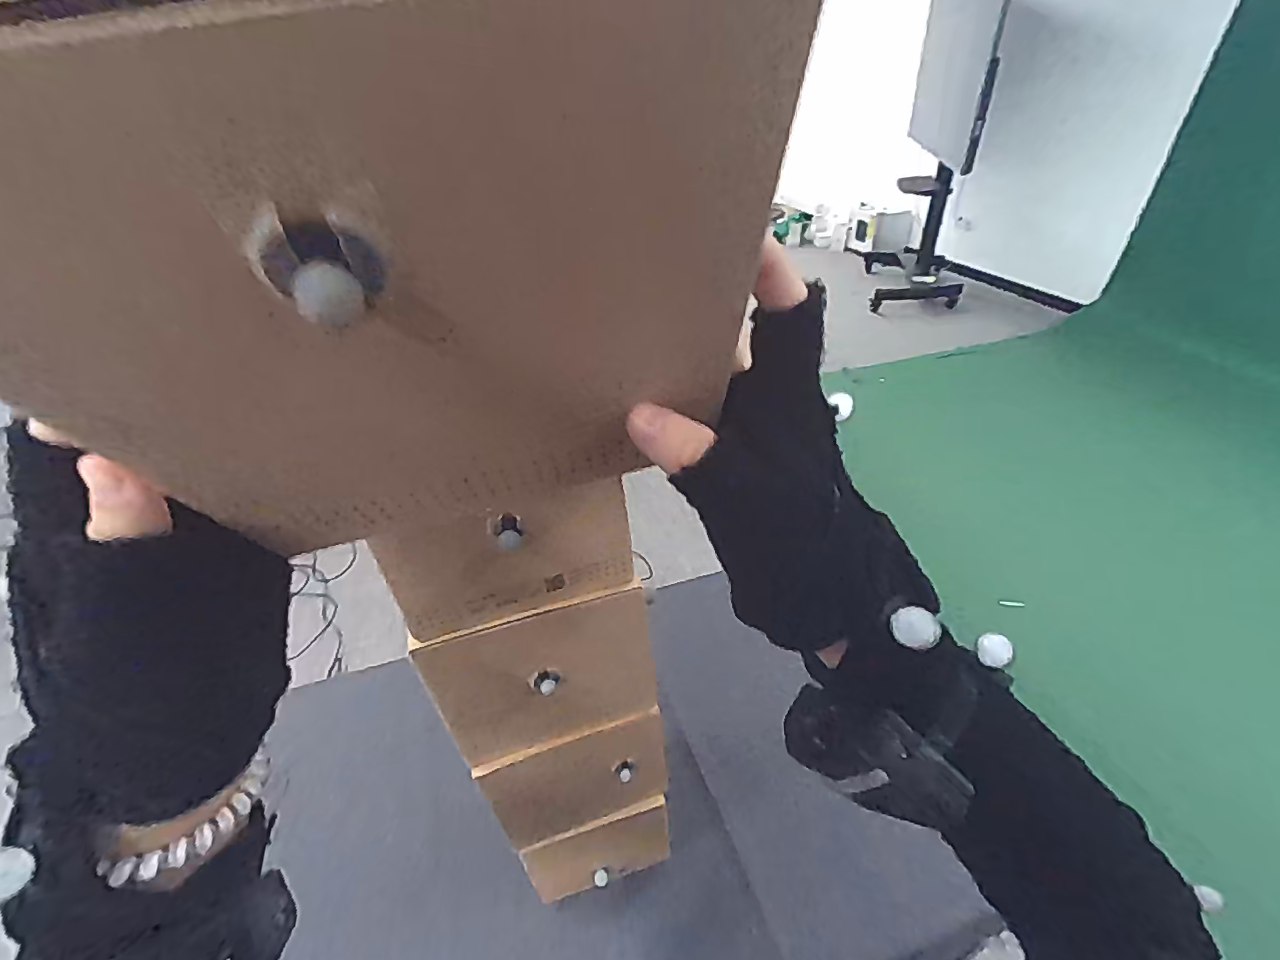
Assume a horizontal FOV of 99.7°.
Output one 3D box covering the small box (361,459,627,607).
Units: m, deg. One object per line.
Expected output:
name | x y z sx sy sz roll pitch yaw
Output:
small box | -0.113 -0.024 0.420 0.168 0.176 0.179 -14 37 -12

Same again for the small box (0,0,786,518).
small box | -0.072 -0.103 0.185 0.179 0.176 0.168 -14 65 -8

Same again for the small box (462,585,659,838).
small box | -0.085 0.251 0.596 0.179 0.176 0.168 -14 37 -13

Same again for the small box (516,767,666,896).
small box | -0.070 0.382 0.692 0.168 0.176 0.179 -13 38 -11
